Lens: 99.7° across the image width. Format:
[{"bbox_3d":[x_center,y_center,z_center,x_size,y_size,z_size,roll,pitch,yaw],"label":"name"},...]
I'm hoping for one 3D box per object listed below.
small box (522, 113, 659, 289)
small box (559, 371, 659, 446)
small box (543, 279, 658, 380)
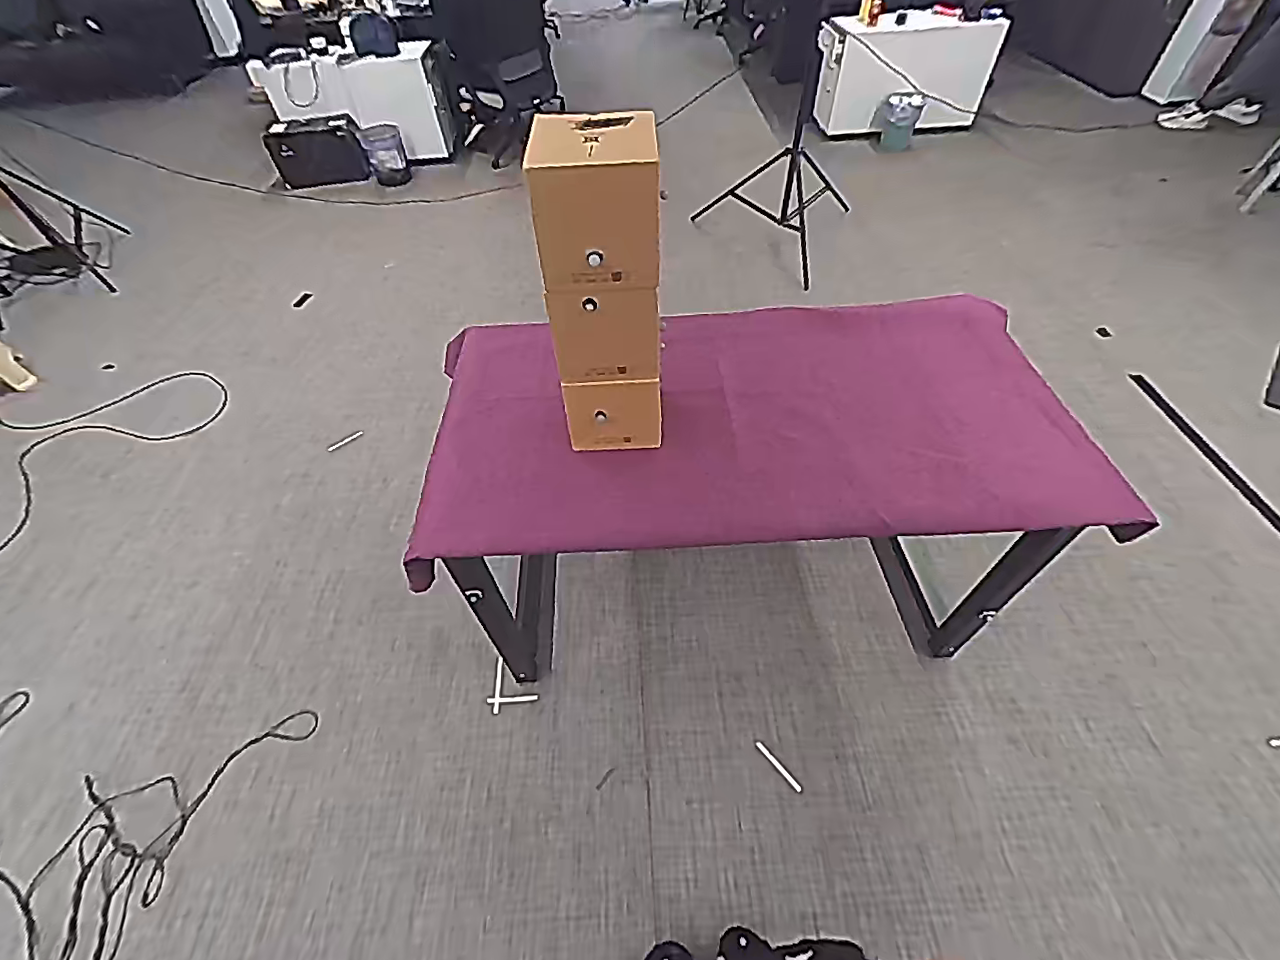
[{"bbox_3d":[-0.059,-0.388,0.756,0.168,0.176,0.179,-2,51,1],"label":"small box"},{"bbox_3d":[-0.050,-0.176,1.008,0.168,0.176,0.179,-3,50,1],"label":"small box"},{"bbox_3d":[-0.057,-0.284,0.885,0.168,0.176,0.179,-3,50,1],"label":"small box"}]
